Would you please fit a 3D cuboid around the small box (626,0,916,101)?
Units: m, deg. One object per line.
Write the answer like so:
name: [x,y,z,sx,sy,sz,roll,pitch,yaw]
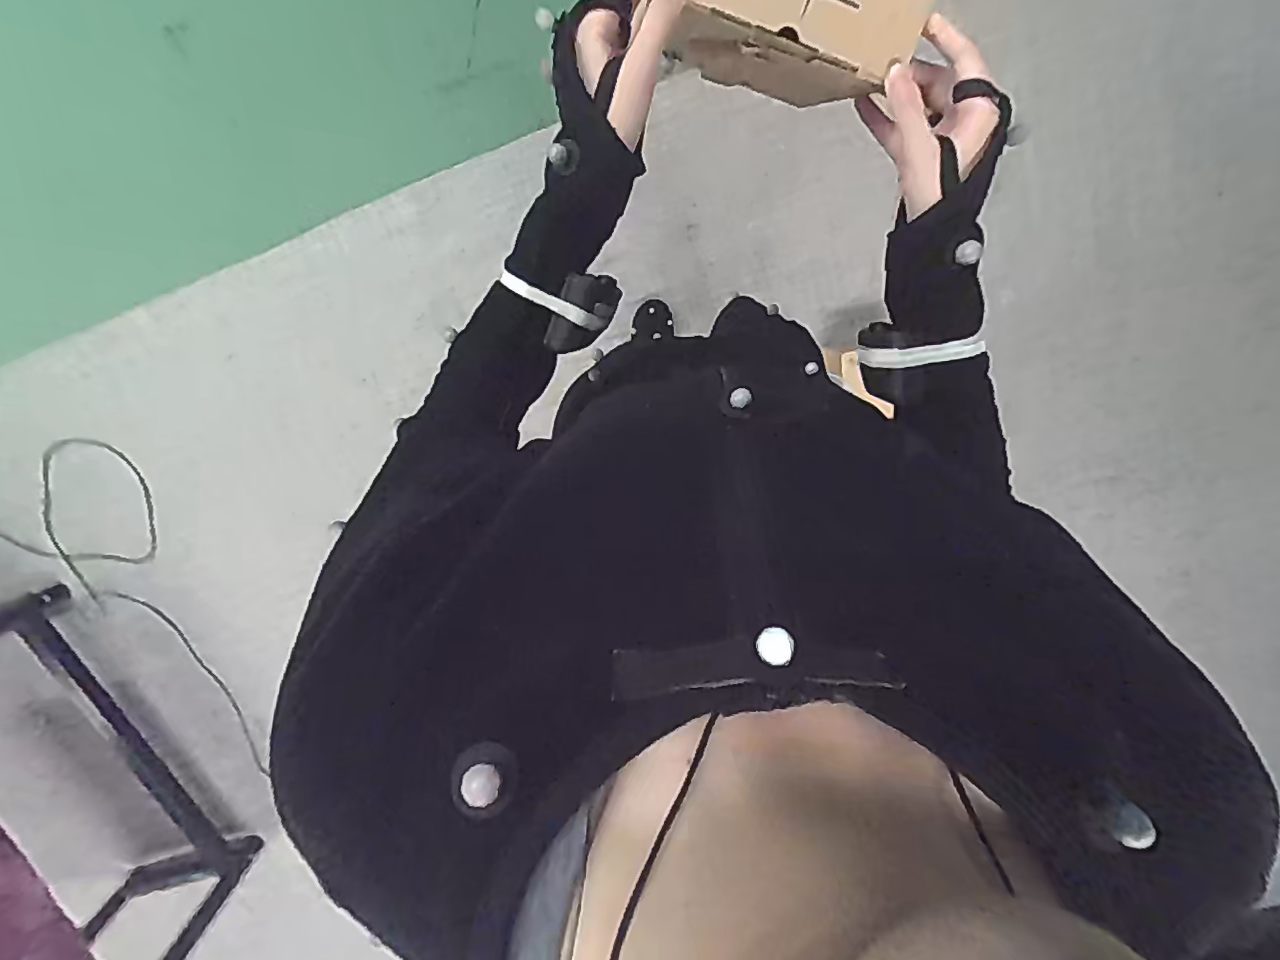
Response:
small box: [0.092,-0.382,0.363,0.168,0.176,0.179,9,118,-15]
